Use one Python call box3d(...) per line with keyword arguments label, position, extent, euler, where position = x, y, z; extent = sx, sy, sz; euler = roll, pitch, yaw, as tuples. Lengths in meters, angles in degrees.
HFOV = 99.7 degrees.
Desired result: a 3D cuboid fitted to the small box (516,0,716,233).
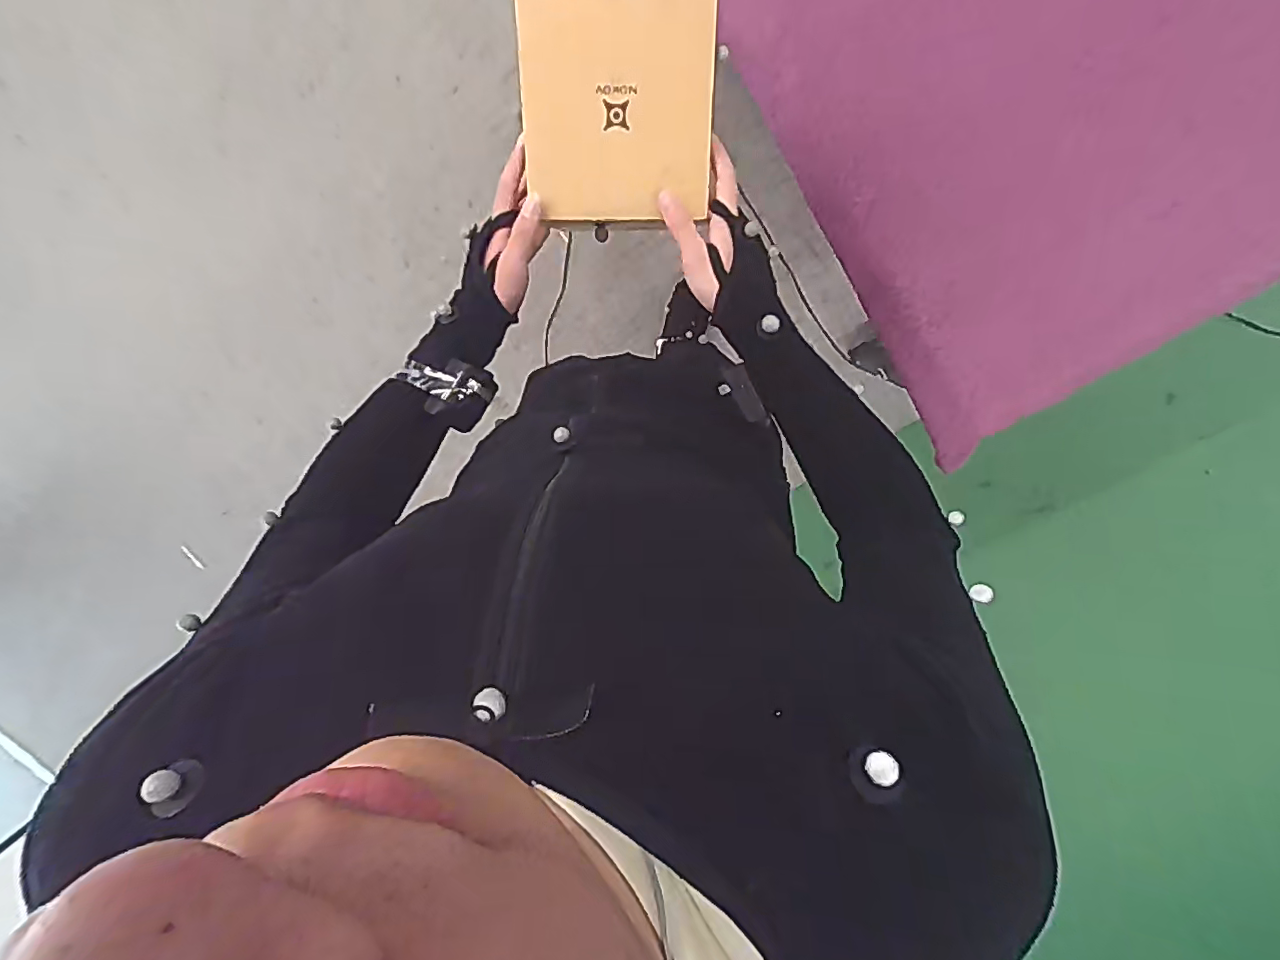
box3d(label="small box", position=(-0.018, -0.345, 0.535), extent=(0.168, 0.176, 0.179), euler=(1, 110, 1))
